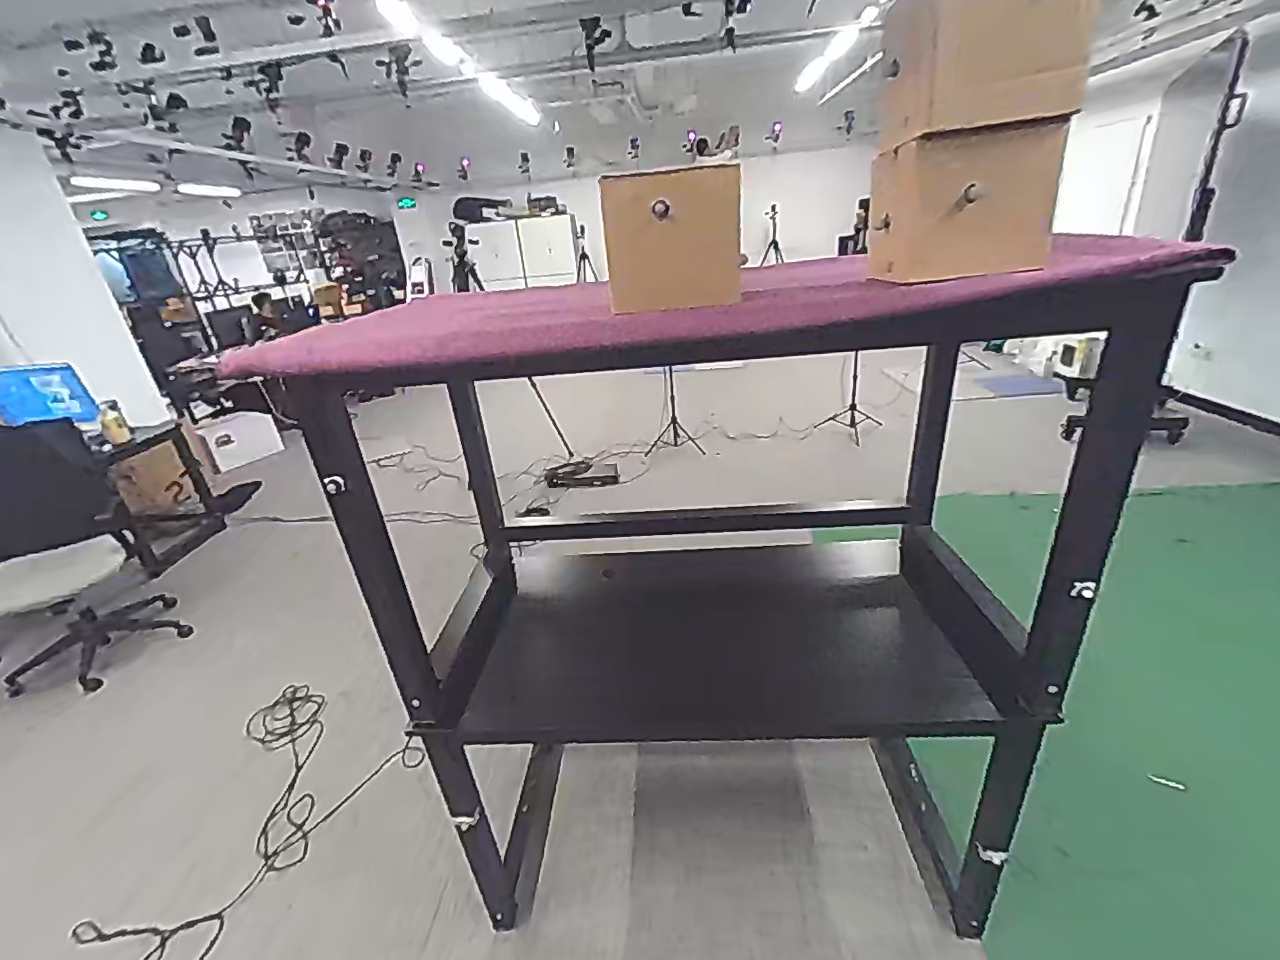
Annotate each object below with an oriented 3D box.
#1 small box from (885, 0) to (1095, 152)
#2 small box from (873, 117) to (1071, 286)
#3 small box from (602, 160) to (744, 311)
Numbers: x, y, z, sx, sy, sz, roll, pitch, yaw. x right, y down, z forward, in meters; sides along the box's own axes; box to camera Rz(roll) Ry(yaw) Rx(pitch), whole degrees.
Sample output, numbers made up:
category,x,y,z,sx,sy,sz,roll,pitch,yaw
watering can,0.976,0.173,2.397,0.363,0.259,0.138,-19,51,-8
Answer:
category,x,y,z,sx,sy,sz,roll,pitch,yaw
small box,0.412,-0.508,0.658,0.179,0.176,0.168,-4,23,6
small box,0.430,-0.363,0.733,0.179,0.176,0.168,-4,23,7
small box,0.052,-0.337,0.761,0.179,0.176,0.168,-2,26,6
